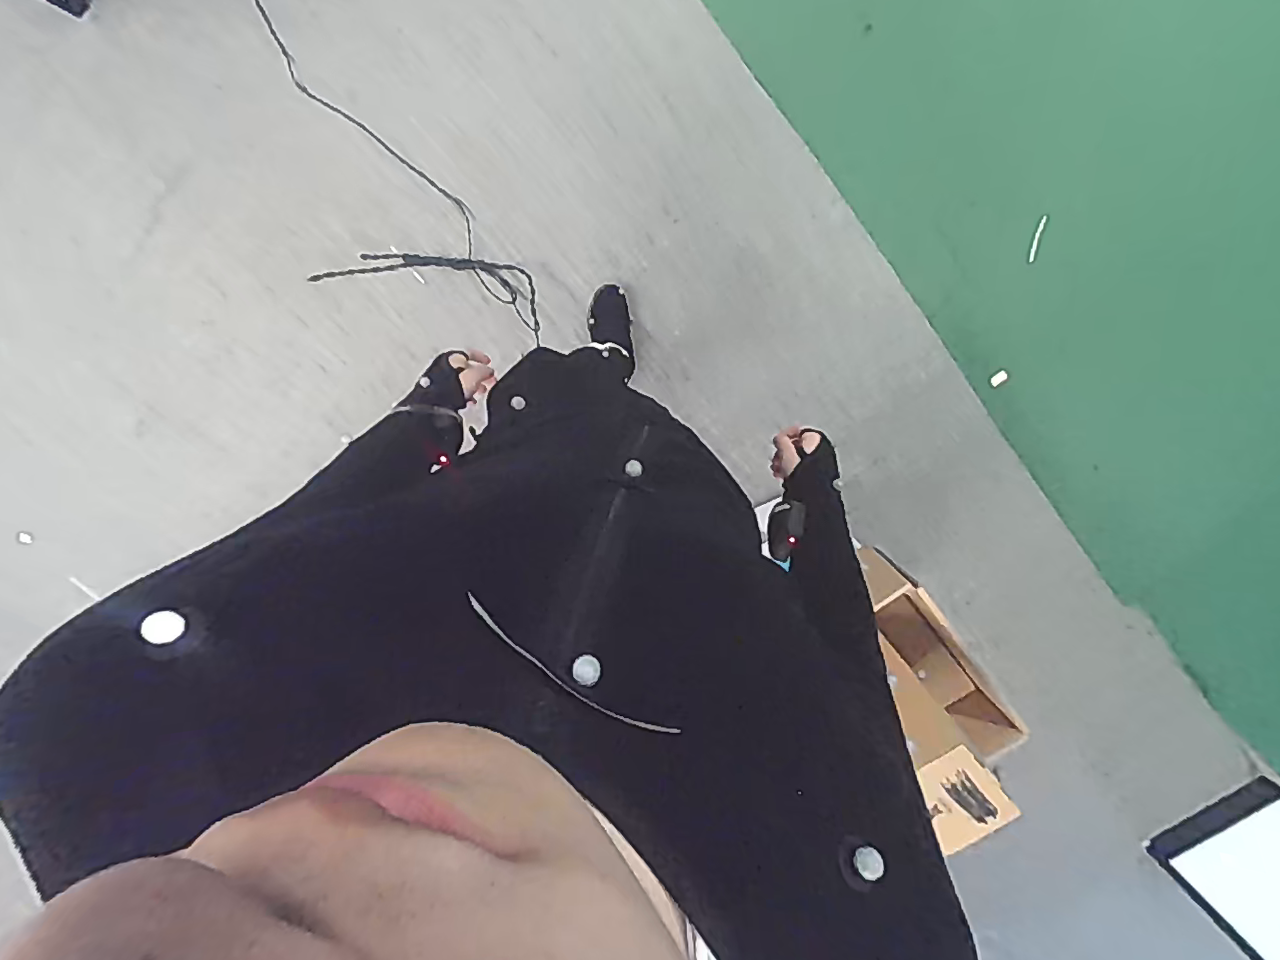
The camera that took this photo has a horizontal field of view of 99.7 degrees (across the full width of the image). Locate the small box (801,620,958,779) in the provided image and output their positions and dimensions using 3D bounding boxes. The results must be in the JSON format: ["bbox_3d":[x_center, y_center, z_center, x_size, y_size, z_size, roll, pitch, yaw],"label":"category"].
[{"bbox_3d":[0.426,0.392,0.993,0.179,0.176,0.168,-39,103,13],"label":"small box"}]
